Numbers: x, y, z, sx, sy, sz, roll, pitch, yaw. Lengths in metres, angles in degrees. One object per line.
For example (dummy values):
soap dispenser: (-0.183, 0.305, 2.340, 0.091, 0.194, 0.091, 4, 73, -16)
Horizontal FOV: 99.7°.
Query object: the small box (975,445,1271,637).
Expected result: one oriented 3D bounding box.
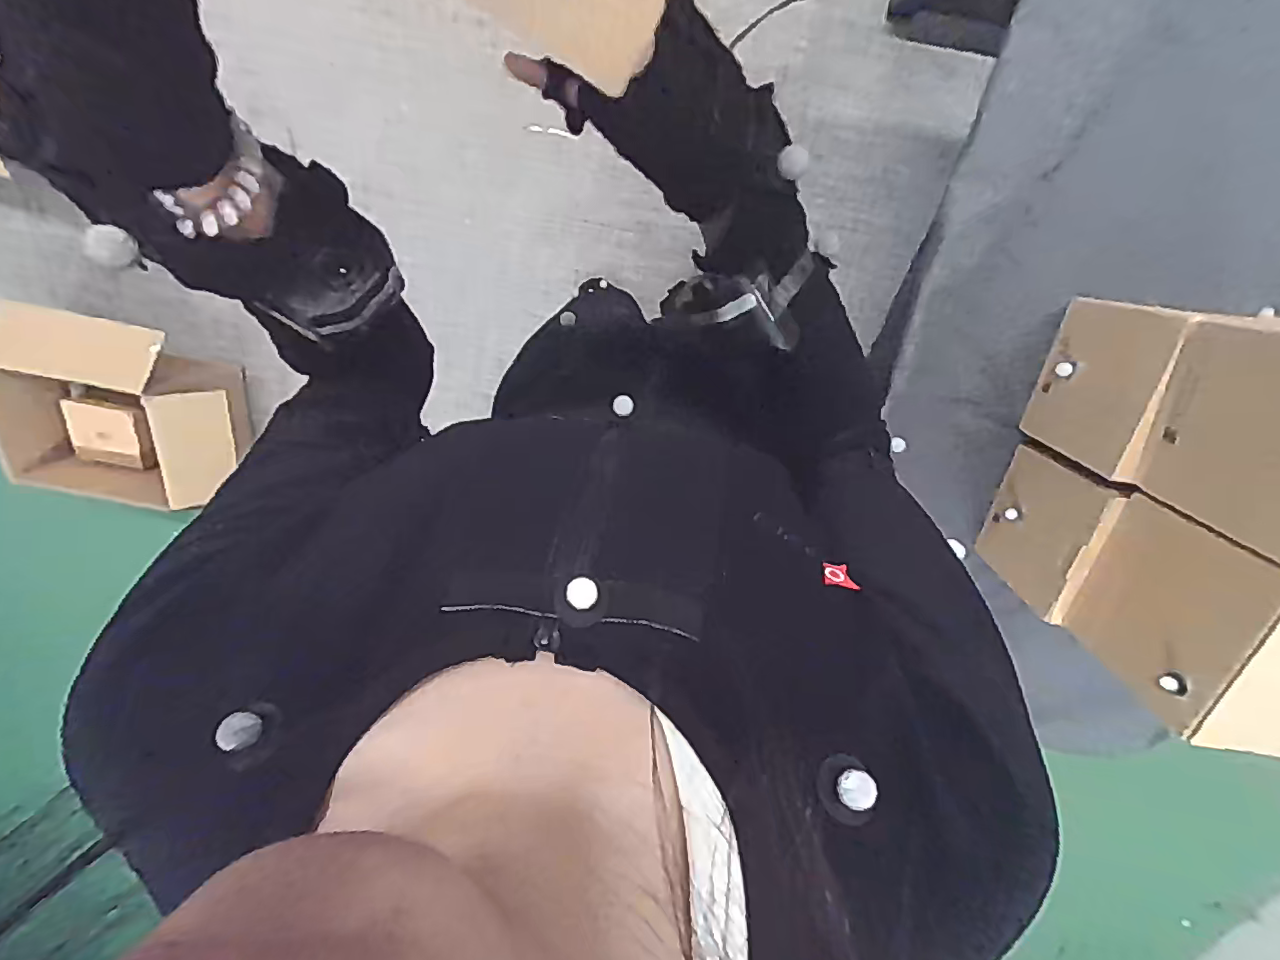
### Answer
small box: (0.566, 0.066, 0.667, 0.179, 0.176, 0.168, 8, 113, 0)
